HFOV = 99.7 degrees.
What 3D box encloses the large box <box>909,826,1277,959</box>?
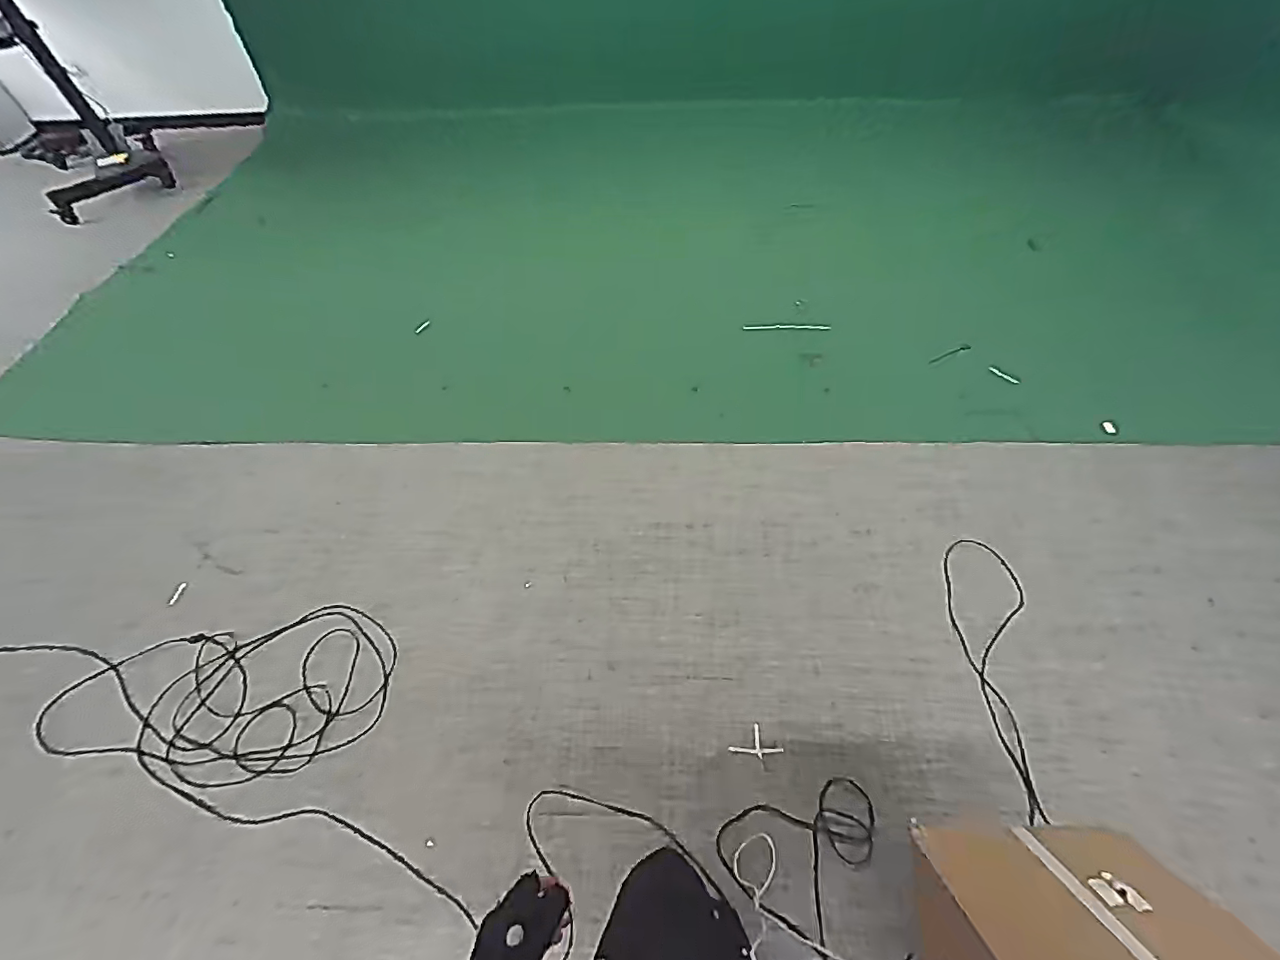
[{"bbox_3d":[0.563,0.686,0.629,0.320,0.408,0.320,-1,90,3],"label":"large box"}]
